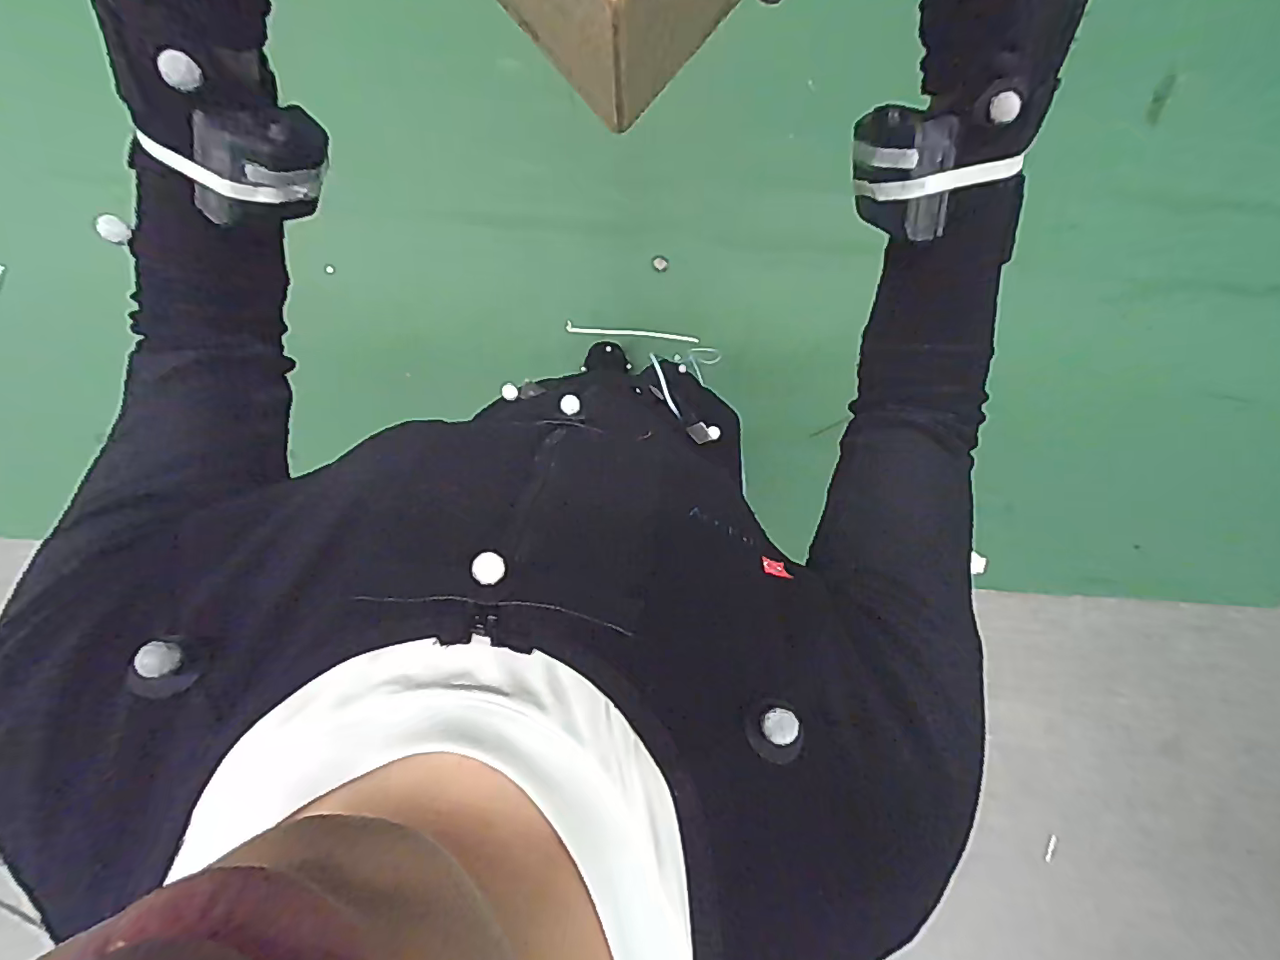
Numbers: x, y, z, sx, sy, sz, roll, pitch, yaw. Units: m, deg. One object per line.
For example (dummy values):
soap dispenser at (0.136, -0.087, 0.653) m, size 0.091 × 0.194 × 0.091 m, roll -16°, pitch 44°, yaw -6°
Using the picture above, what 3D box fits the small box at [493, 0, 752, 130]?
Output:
small box at (-0.003, -0.270, 0.184) m, size 0.179 × 0.176 × 0.168 m, roll -42°, pitch 106°, yaw 12°
